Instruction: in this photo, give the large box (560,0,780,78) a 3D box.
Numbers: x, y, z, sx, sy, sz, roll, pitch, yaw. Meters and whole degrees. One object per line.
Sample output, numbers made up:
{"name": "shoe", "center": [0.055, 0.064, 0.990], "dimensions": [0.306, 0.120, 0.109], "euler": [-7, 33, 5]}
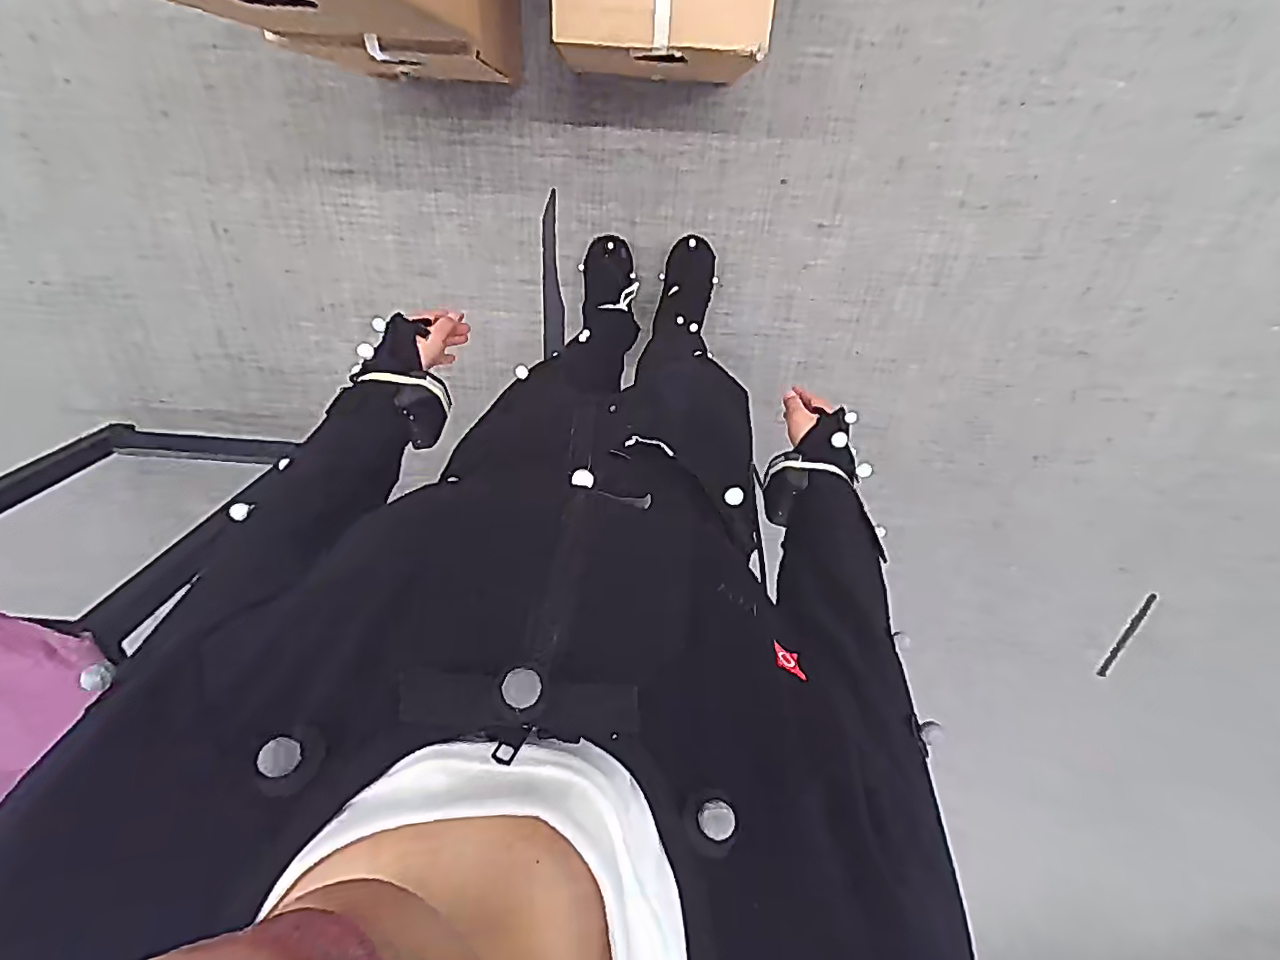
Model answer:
{"name": "large box", "center": [0.046, -0.871, 0.804], "dimensions": [0.320, 0.320, 0.408], "euler": [3, 121, 0]}
